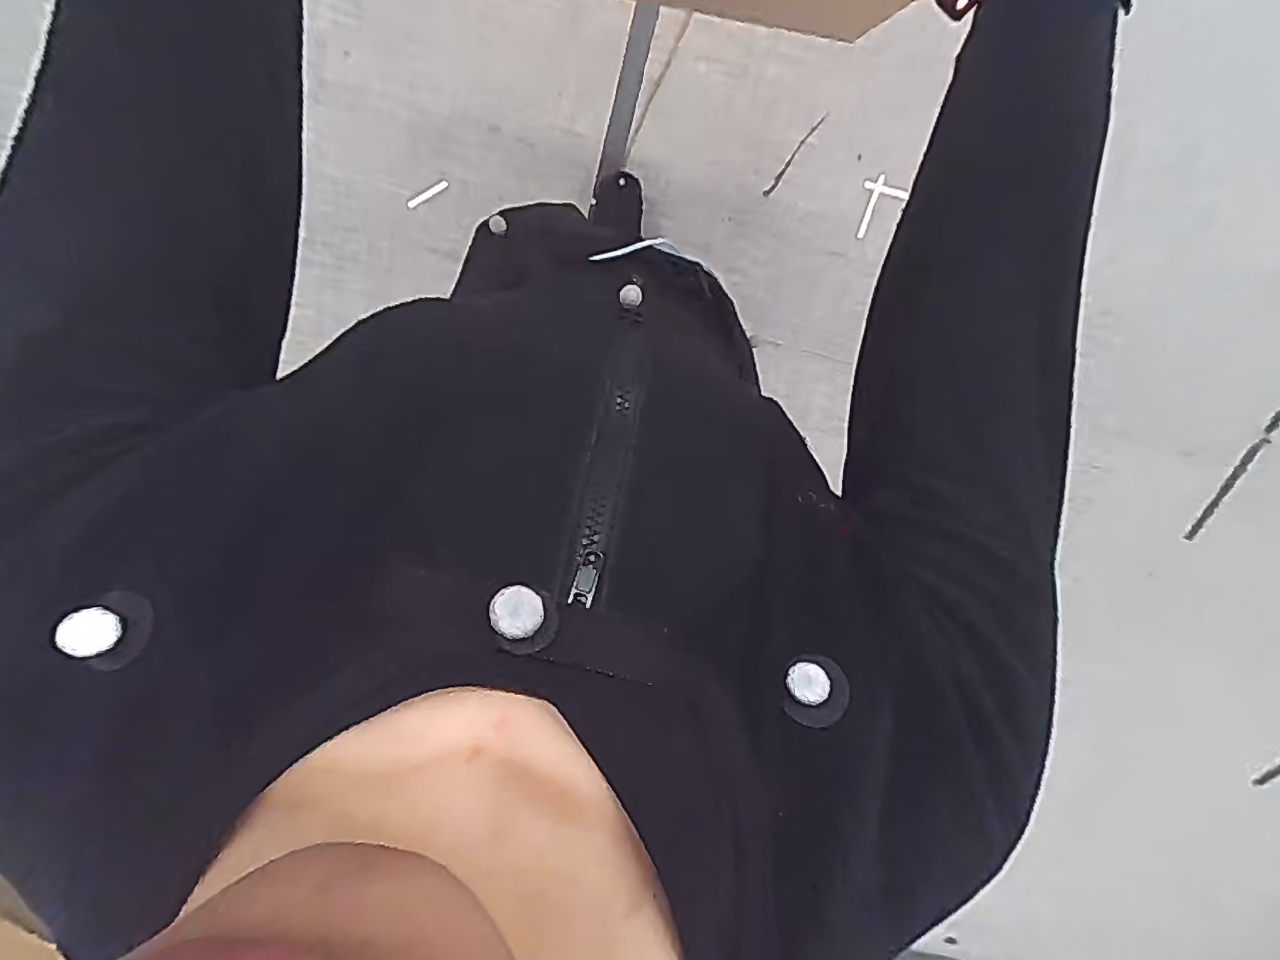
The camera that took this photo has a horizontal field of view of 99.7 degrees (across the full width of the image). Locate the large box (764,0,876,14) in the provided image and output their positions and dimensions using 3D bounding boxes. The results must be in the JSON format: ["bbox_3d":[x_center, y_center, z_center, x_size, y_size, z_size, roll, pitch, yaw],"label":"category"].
[{"bbox_3d":[0.057,-0.584,0.376,0.408,0.320,0.320,11,120,-2],"label":"large box"}]
